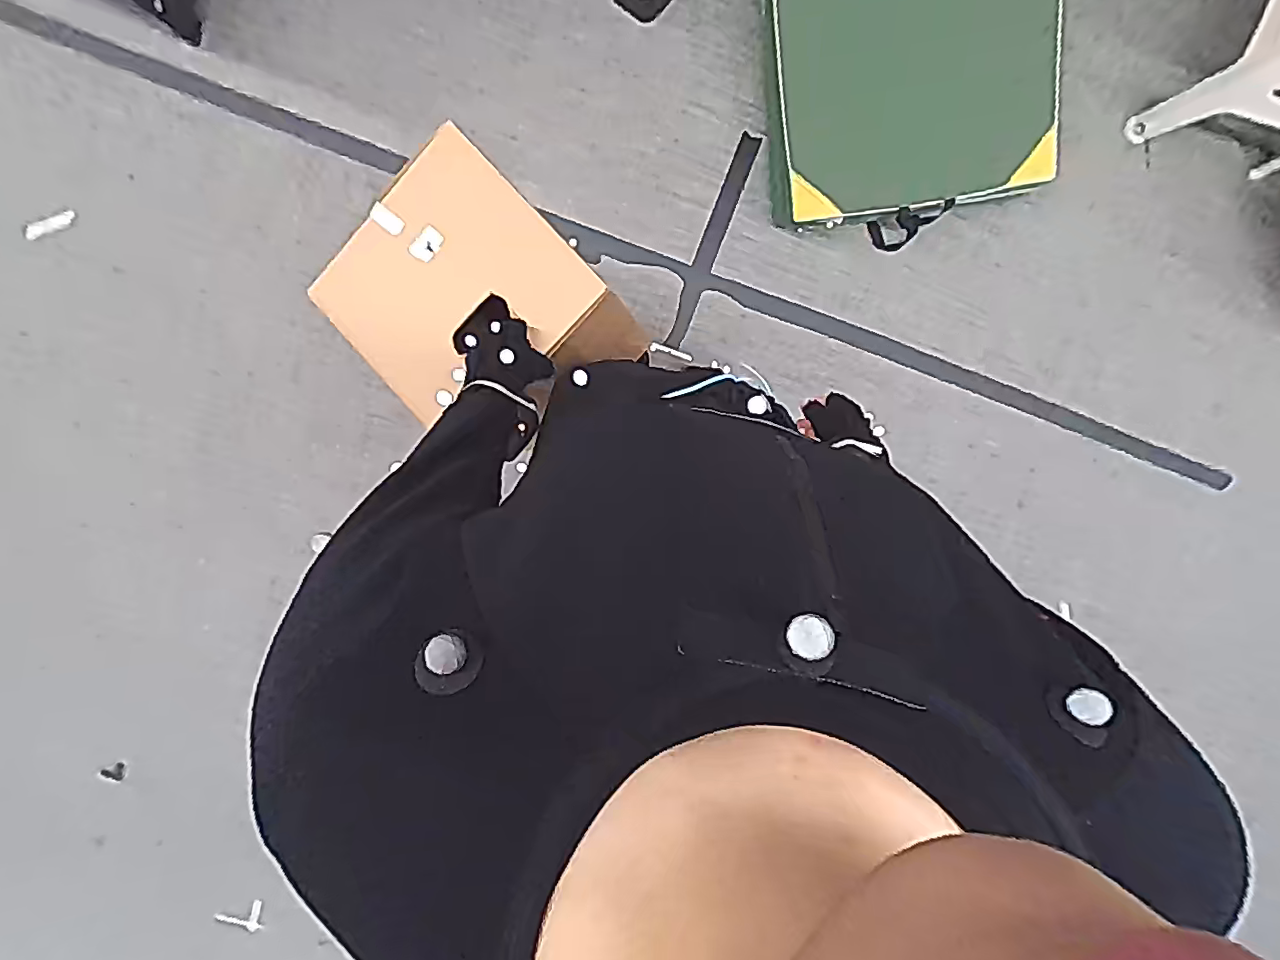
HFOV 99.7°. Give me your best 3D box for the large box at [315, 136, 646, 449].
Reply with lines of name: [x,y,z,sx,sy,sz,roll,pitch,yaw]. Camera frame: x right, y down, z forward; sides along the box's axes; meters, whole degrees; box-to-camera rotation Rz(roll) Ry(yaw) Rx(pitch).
large box: [-0.231,-0.275,0.927,0.320,0.408,0.320,-42,88,11]
